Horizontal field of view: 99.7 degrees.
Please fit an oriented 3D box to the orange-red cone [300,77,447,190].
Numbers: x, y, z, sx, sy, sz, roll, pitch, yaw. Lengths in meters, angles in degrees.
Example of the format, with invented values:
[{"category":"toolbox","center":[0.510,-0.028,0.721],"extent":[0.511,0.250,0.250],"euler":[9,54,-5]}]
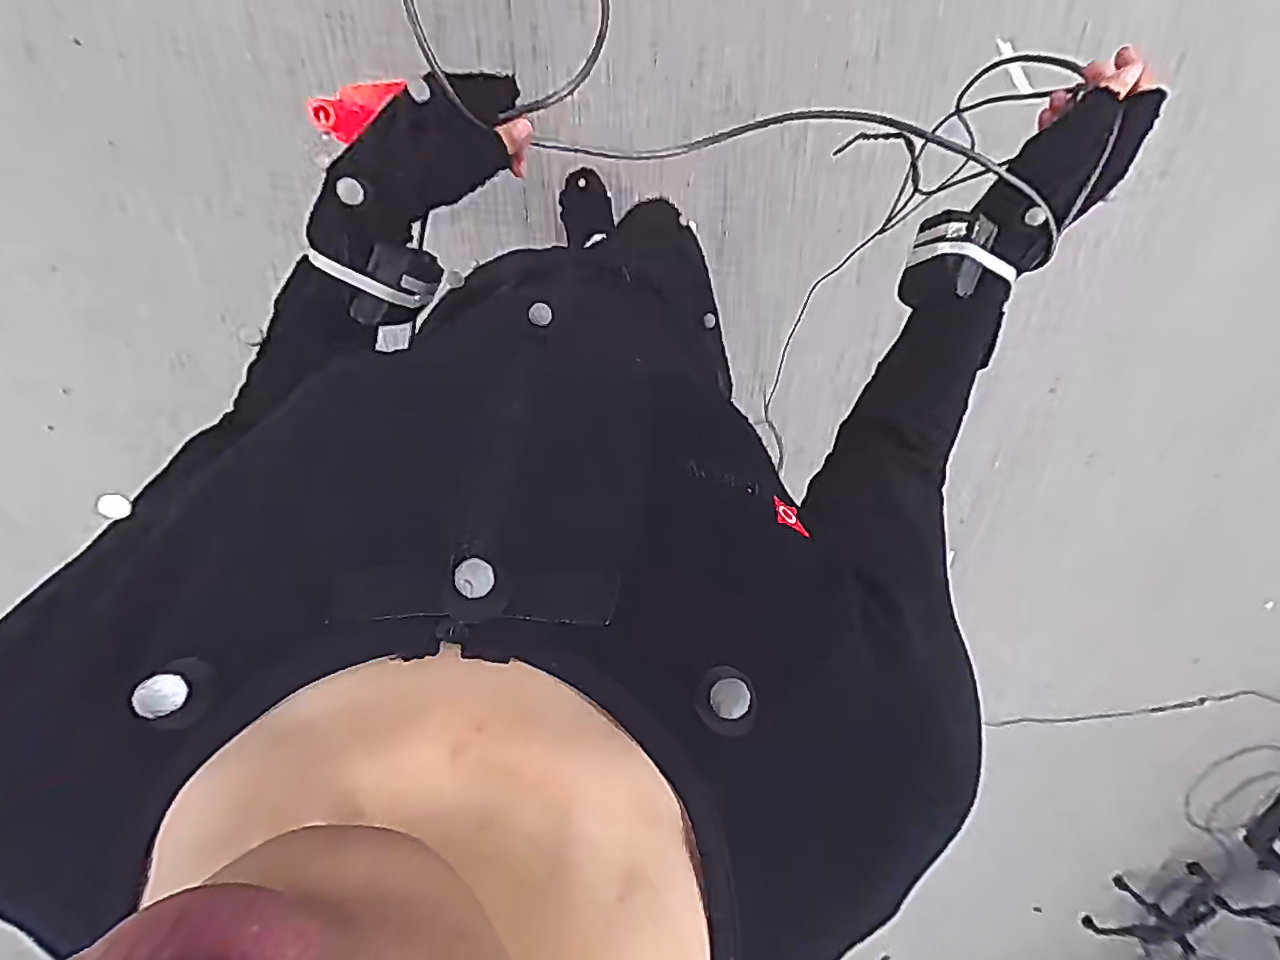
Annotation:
[{"category":"orange-red cone","center":[-0.514,-0.653,0.990],"extent":[0.199,0.360,0.198],"euler":[-4,116,0]}]
